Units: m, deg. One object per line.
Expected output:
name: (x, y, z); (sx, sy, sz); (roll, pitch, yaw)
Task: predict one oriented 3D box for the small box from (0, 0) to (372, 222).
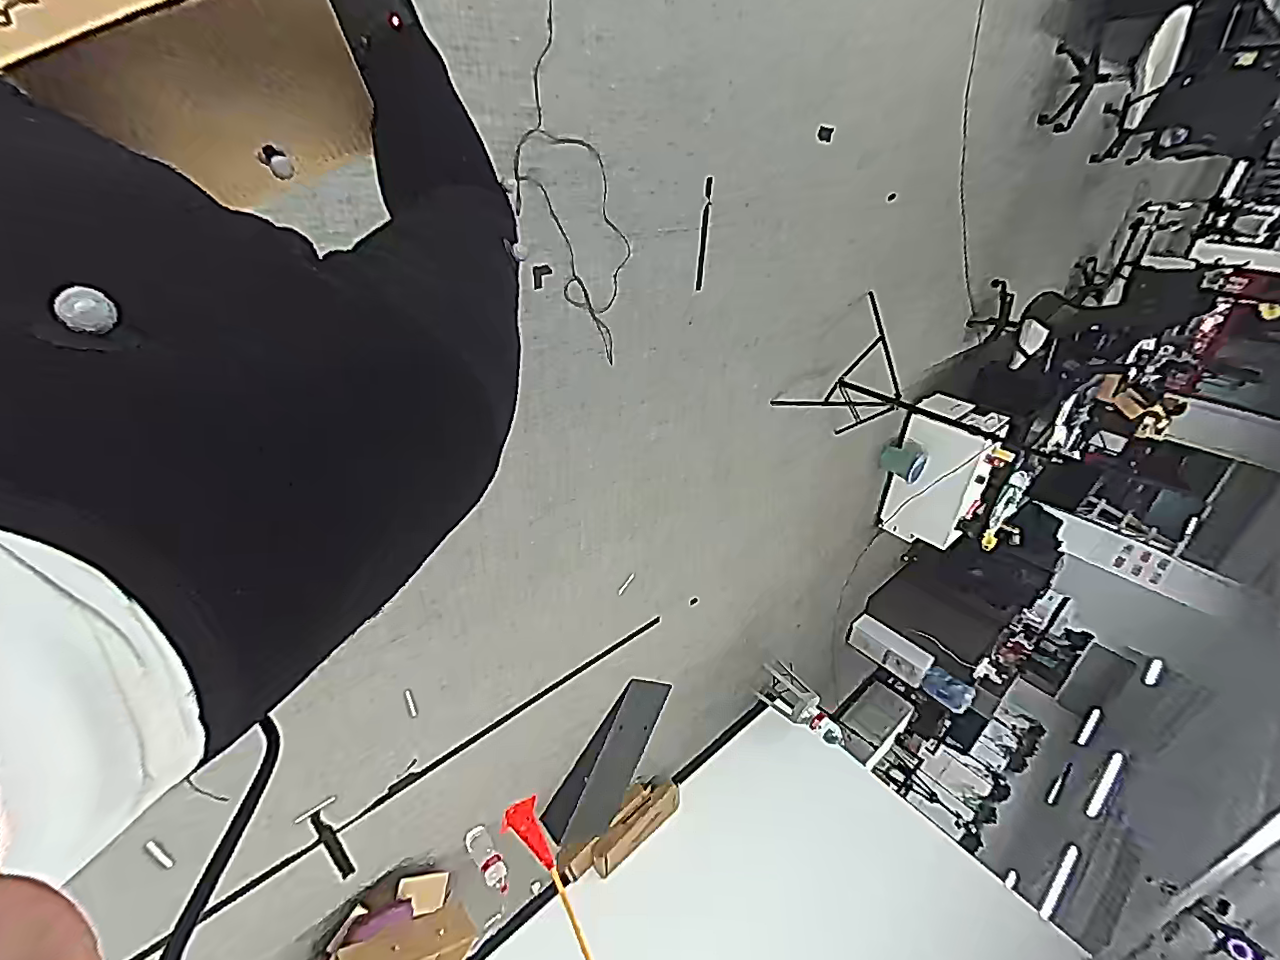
small box: (-0.320, -0.326, 0.386); (0.179, 0.176, 0.168); (-31, 92, -10)
